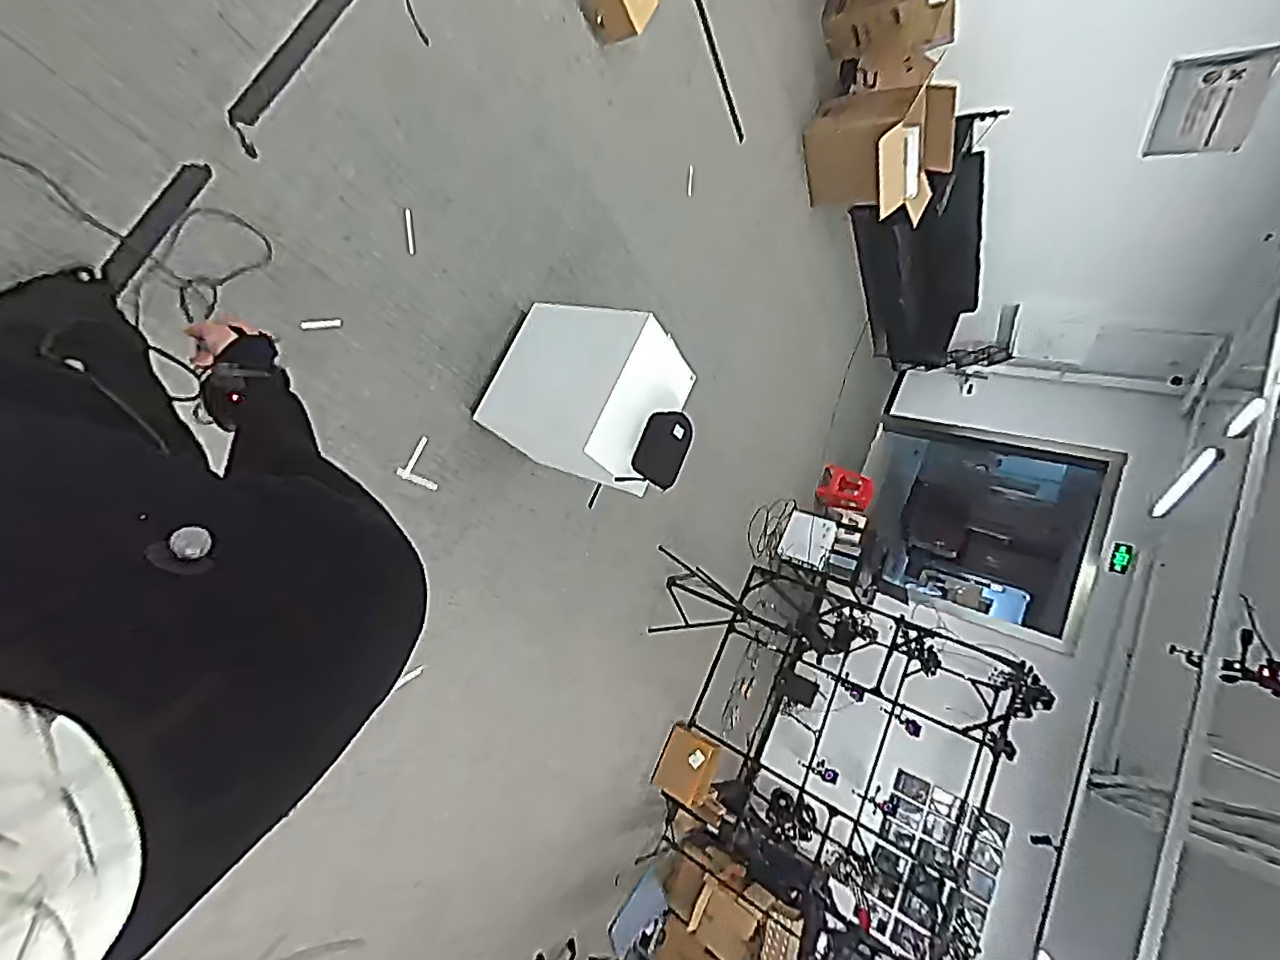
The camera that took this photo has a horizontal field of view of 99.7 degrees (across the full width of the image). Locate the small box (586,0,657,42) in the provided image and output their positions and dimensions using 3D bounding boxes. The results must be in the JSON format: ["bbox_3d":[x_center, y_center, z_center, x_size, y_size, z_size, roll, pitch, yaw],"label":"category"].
[{"bbox_3d":[-0.069,-1.747,1.964,0.168,0.176,0.179,38,73,-53],"label":"small box"}]
